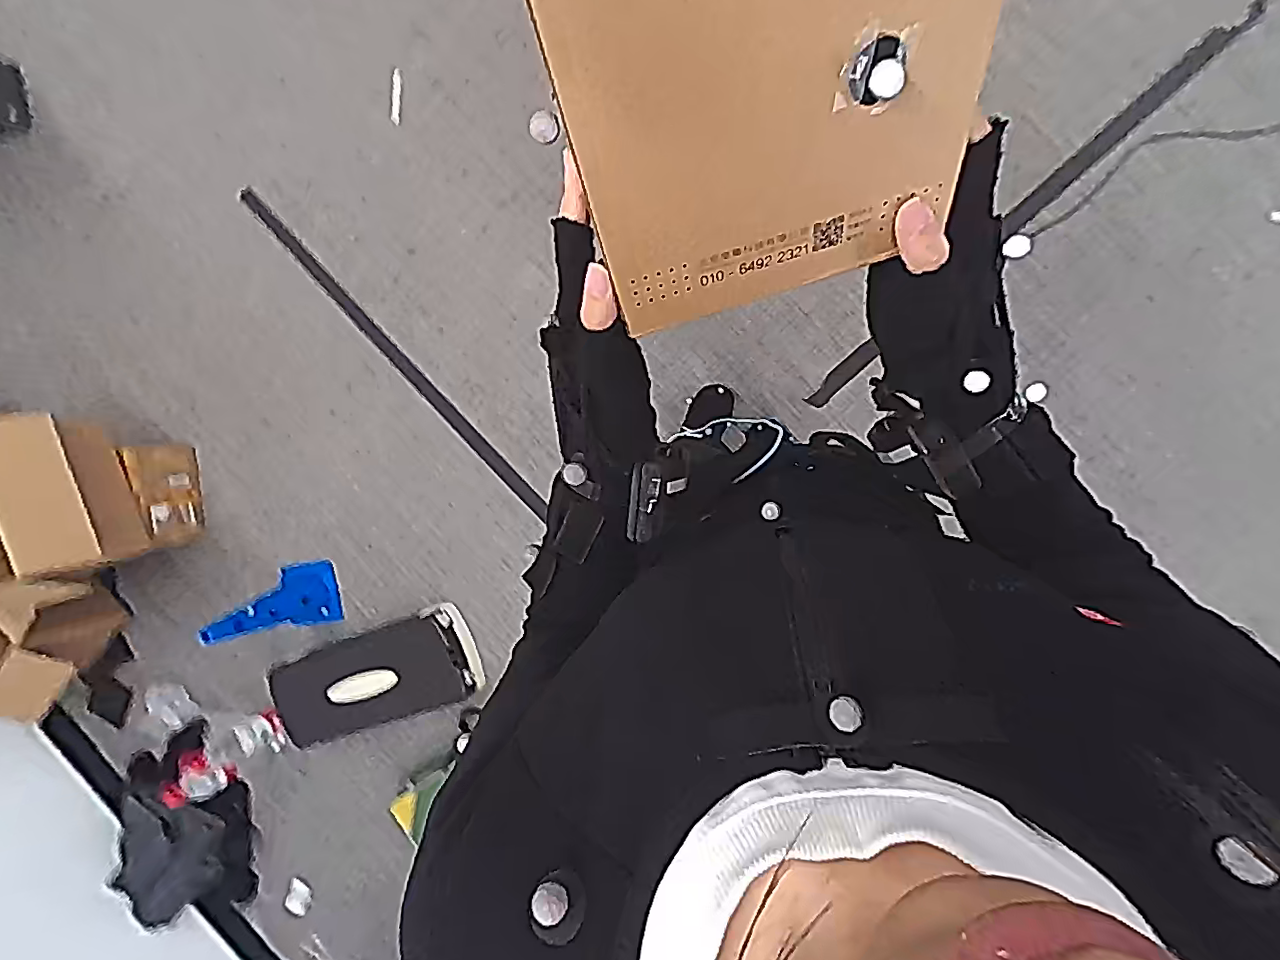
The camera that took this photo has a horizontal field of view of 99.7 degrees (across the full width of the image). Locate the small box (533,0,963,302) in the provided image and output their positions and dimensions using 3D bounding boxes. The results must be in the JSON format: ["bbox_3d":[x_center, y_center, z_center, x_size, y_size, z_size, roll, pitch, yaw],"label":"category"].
[{"bbox_3d":[0.043,-0.215,0.278,0.168,0.176,0.179,-15,54,4],"label":"small box"}]
